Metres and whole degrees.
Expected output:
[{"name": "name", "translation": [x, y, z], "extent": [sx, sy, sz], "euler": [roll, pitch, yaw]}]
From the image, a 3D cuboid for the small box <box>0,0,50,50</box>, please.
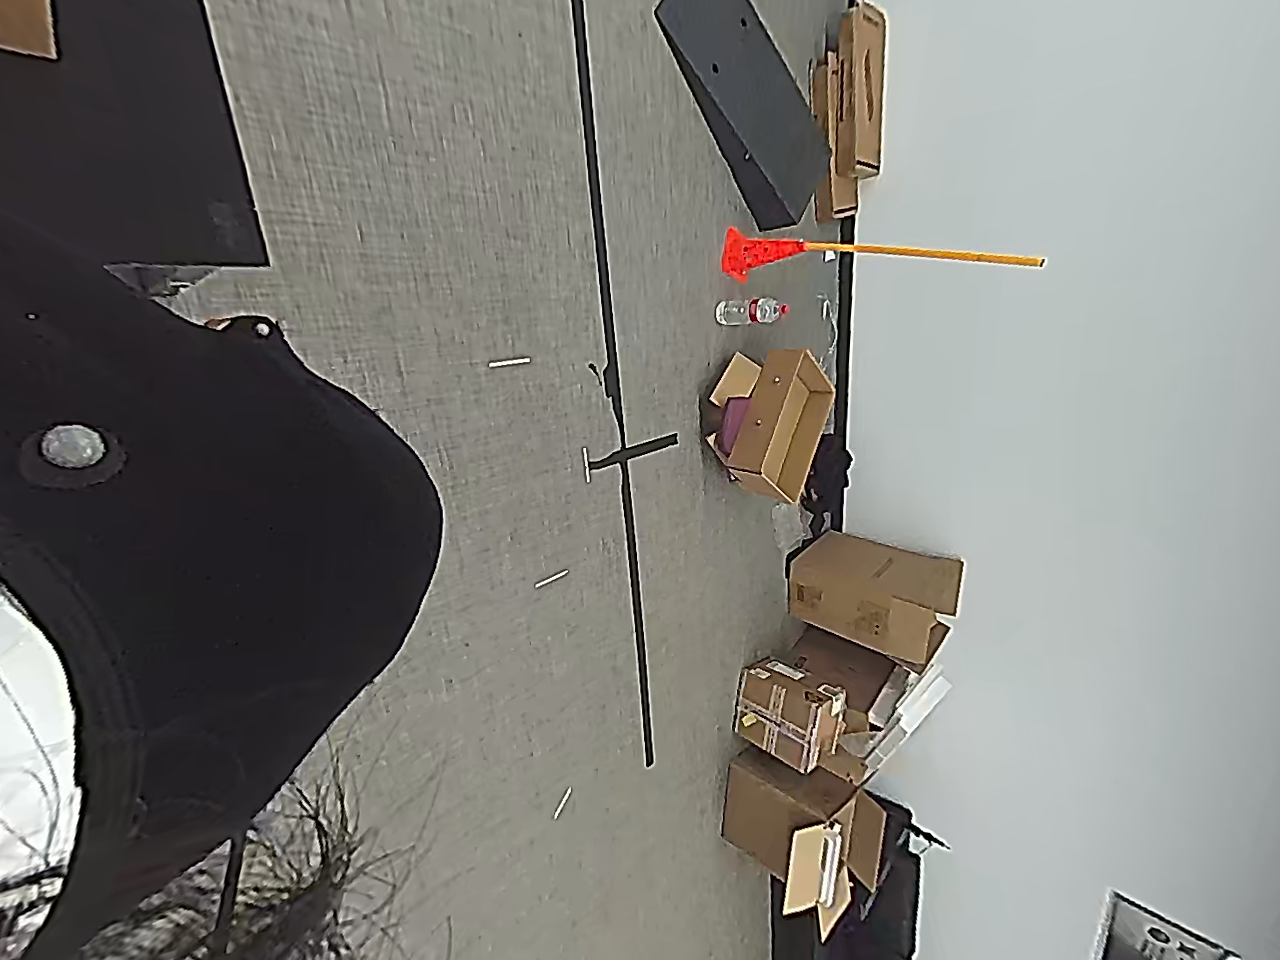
[{"name": "small box", "translation": [-0.559, -0.441, 0.373], "extent": [0.179, 0.176, 0.168], "euler": [-19, 112, -43]}]
